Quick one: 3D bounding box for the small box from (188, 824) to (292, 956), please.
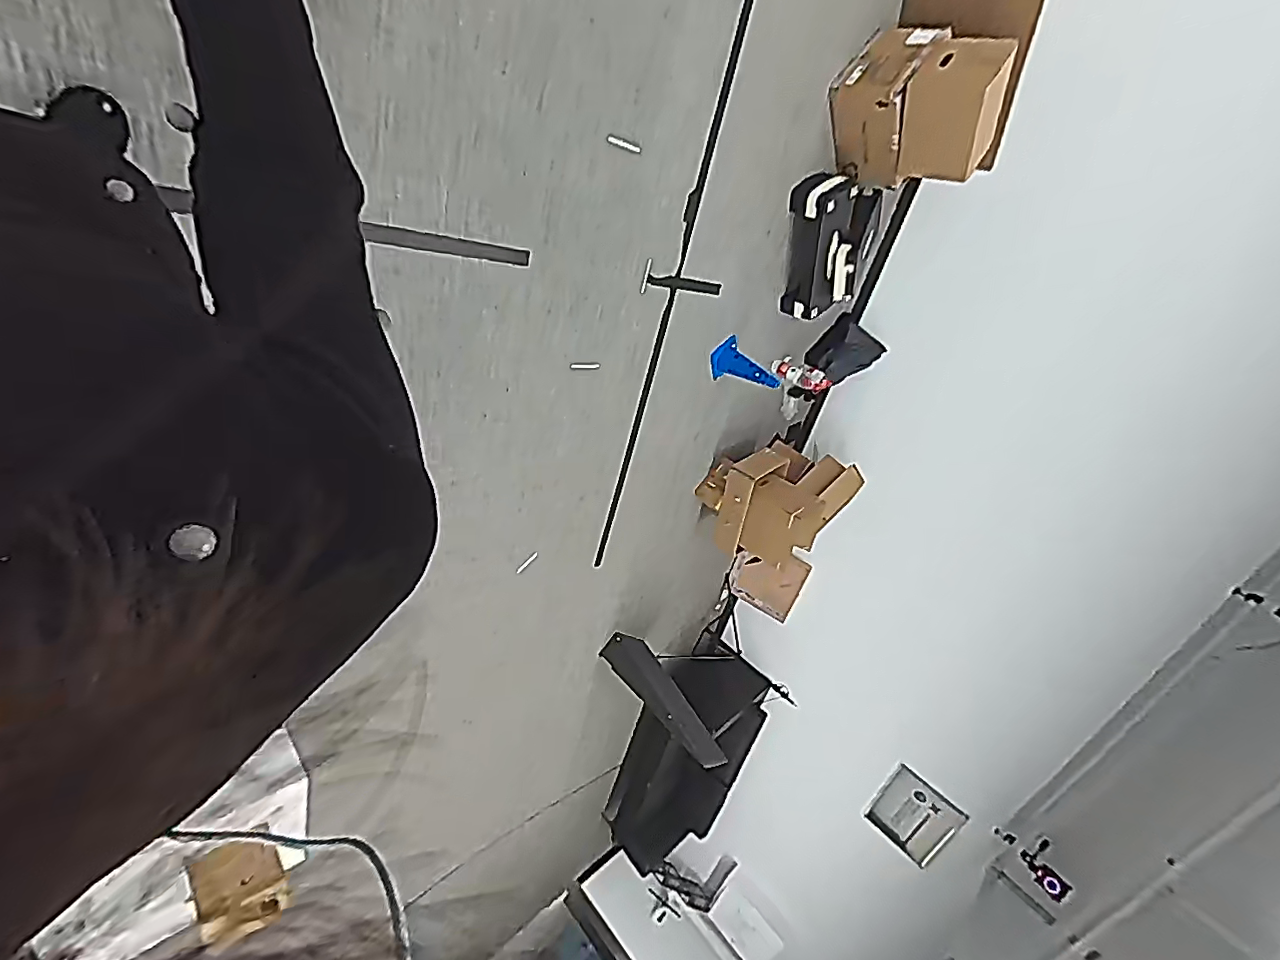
[{"bbox_3d":[-1.010,1.027,1.371,0.179,0.176,0.168,-14,129,-45],"label":"small box"}]
